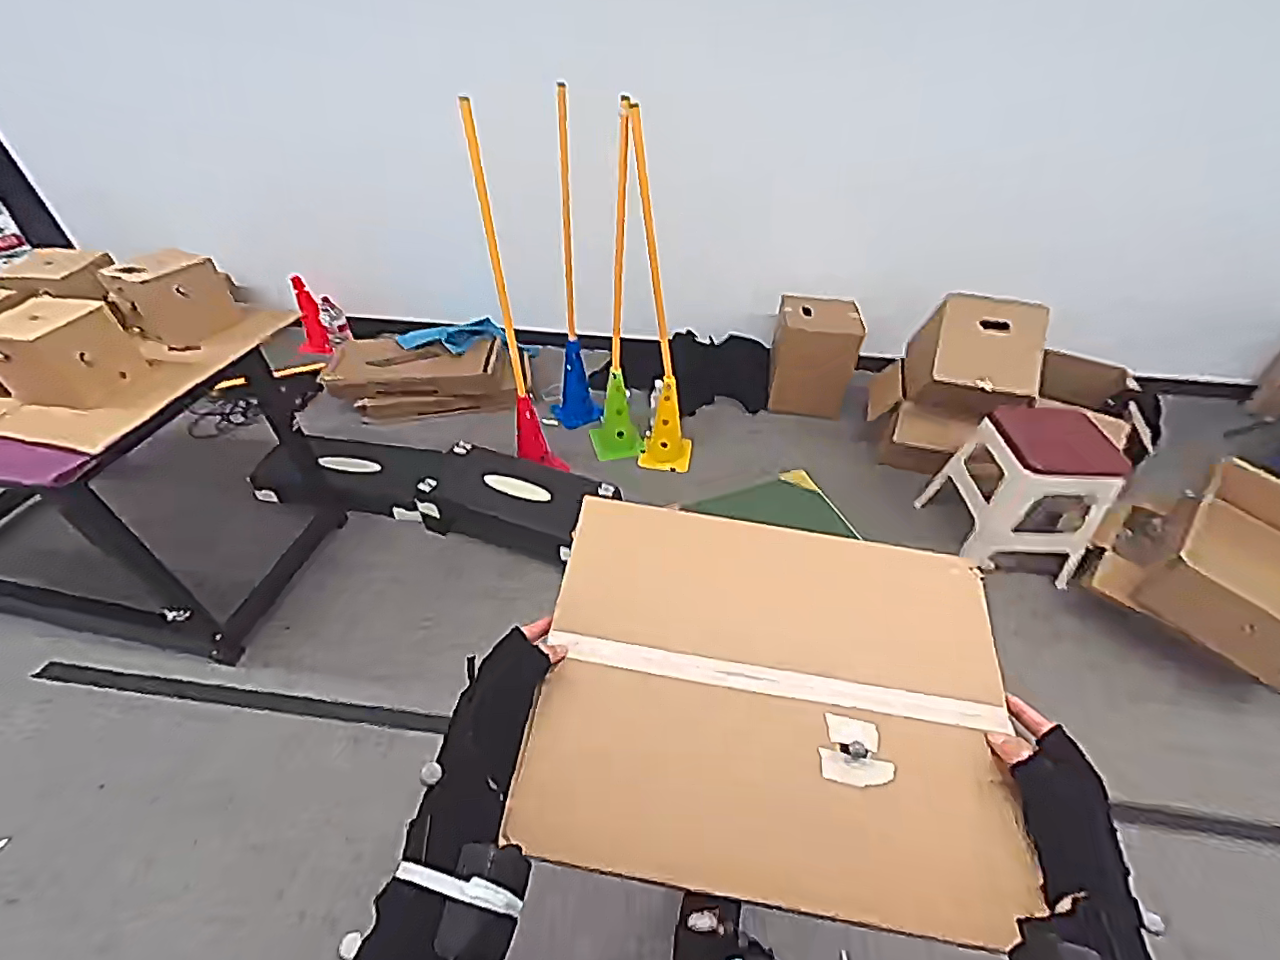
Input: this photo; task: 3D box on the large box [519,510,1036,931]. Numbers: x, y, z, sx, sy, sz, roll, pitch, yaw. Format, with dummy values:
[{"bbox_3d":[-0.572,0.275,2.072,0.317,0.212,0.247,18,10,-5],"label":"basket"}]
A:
[{"bbox_3d":[0.112,0.264,0.613,0.408,0.320,0.320,9,57,3],"label":"large box"}]
